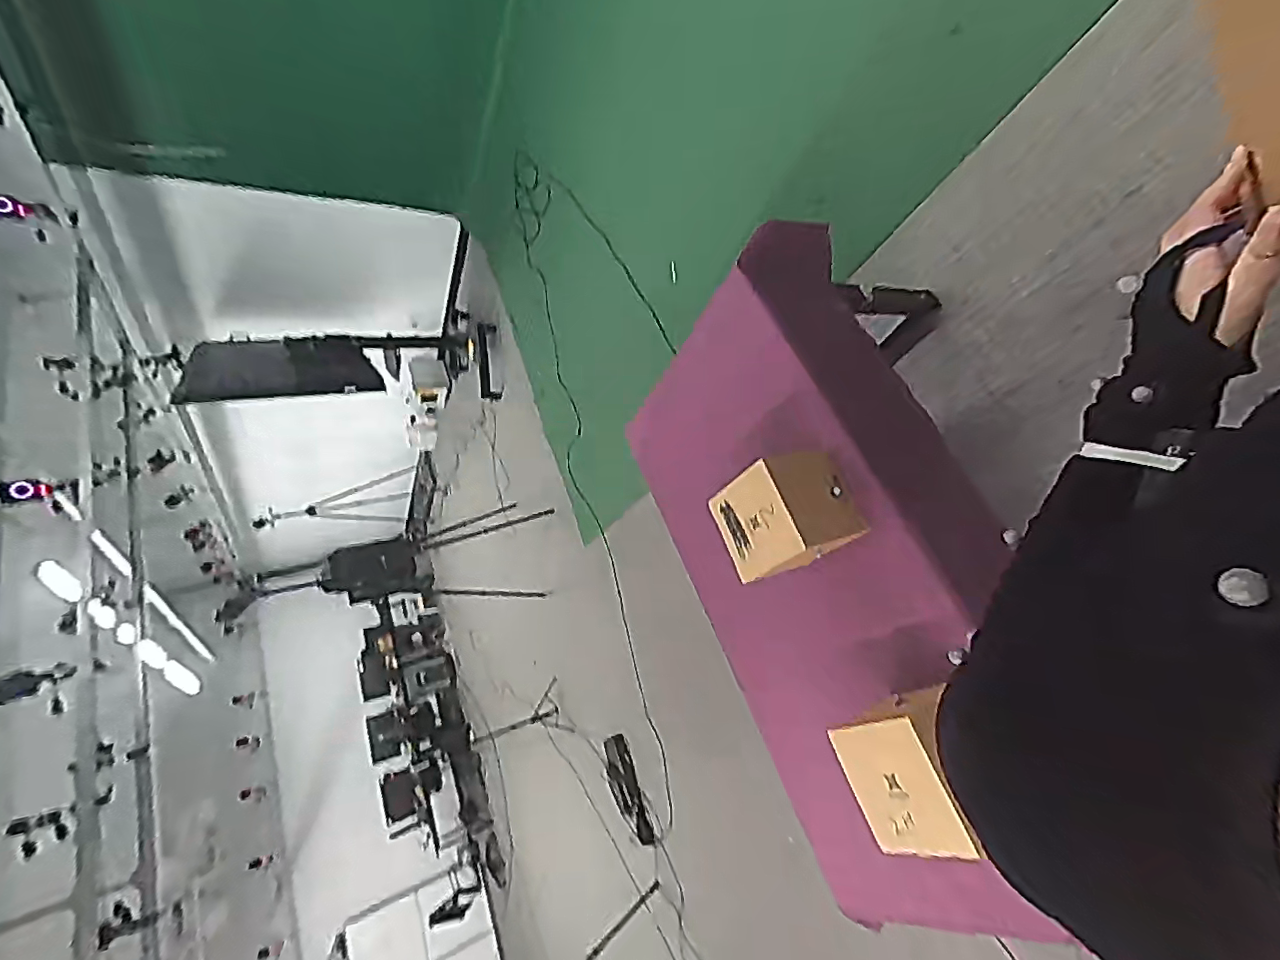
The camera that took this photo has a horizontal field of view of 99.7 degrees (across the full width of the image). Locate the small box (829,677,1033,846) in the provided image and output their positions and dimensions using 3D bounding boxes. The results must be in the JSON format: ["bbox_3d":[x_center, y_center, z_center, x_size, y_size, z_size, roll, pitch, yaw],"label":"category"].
[{"bbox_3d":[0.431,0.410,0.811,0.168,0.176,0.179,-50,56,52],"label":"small box"}]

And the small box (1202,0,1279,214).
[{"bbox_3d":[0.406,-0.239,0.250,0.168,0.176,0.179,-16,110,38],"label":"small box"}]
